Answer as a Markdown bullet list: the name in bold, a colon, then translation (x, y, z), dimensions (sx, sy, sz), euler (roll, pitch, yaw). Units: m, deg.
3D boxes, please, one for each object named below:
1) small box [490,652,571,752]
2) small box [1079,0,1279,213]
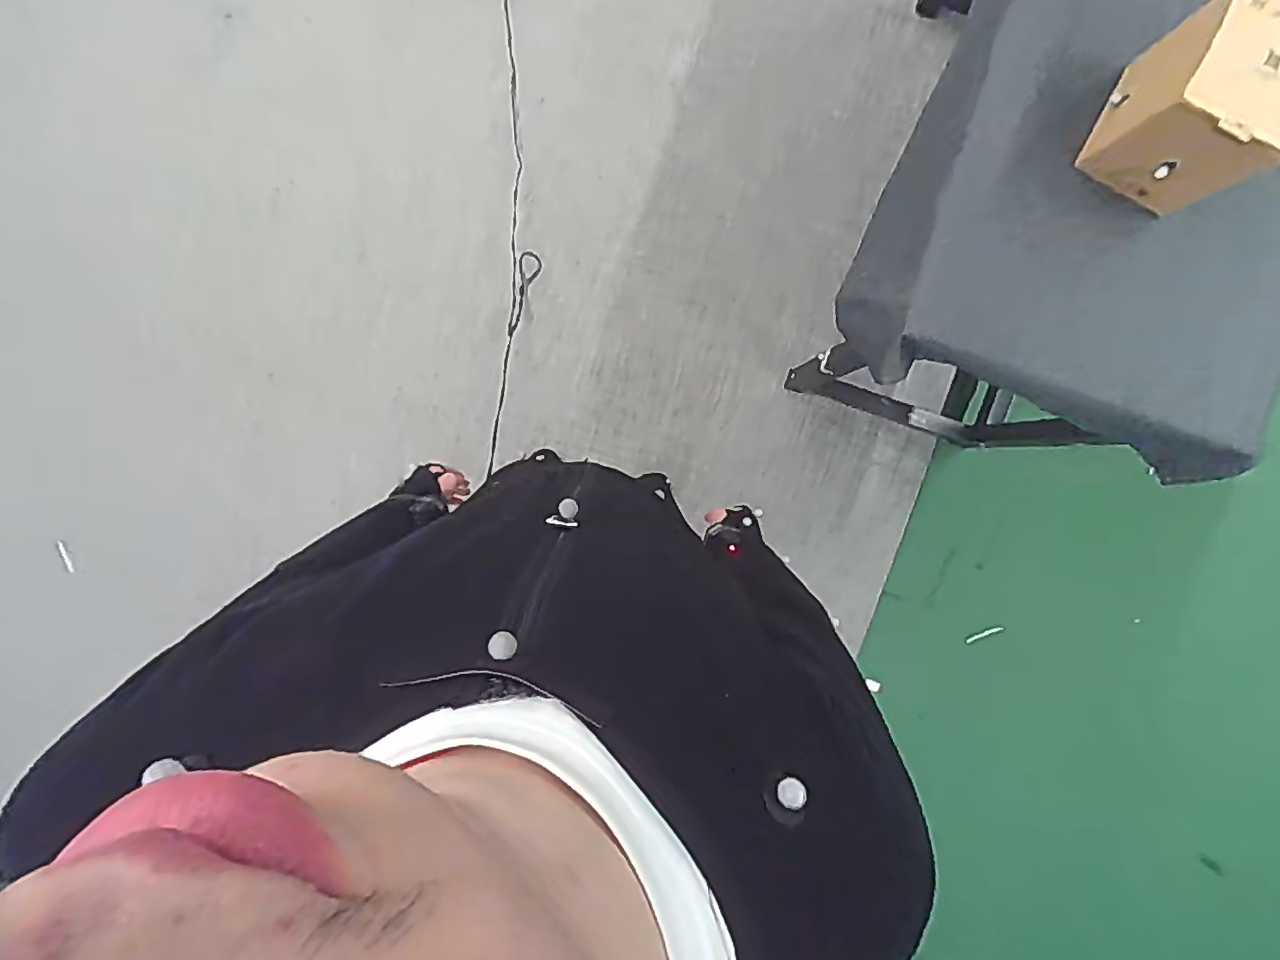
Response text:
- **small box**: translation (-0.298, 0.614, 1.514), dimensions (0.168, 0.176, 0.179), euler (21, 92, -4)
- **small box**: translation (0.785, -0.519, 0.767), dimensions (0.168, 0.176, 0.179), euler (27, 93, -2)
